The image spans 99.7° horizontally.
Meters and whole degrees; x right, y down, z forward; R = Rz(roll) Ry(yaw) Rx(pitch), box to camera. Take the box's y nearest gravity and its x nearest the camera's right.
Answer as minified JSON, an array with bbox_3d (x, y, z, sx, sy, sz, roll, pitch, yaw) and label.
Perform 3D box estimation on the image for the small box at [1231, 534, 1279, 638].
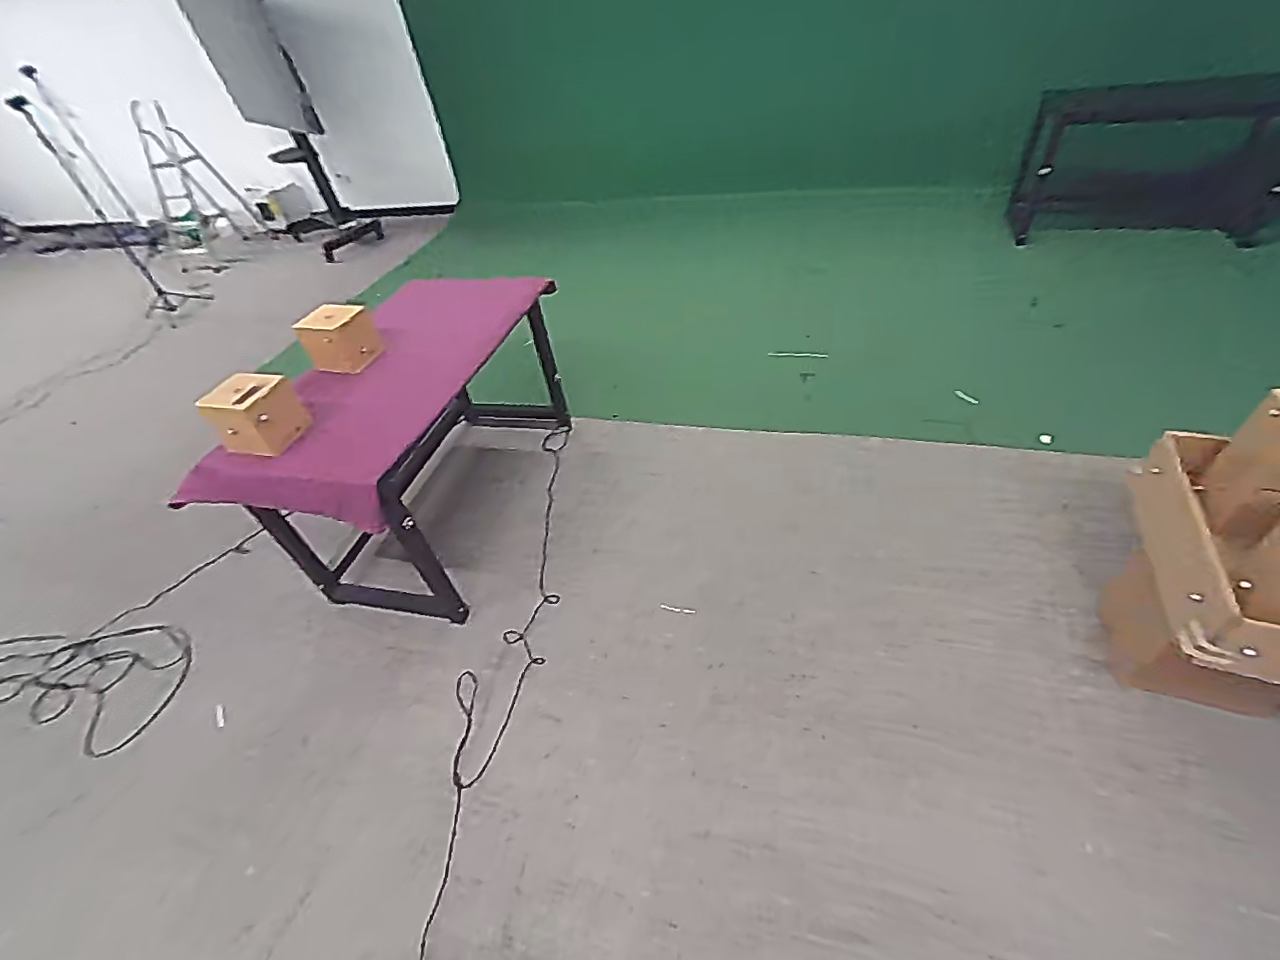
[{"bbox_3d":[1.422,0.238,1.135,0.179,0.176,0.168,15,48,23],"label":"small box"}]

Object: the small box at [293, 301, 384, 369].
[{"bbox_3d":[-1.020,-0.494,1.843,0.179,0.176,0.168,8,46,15],"label":"small box"}]

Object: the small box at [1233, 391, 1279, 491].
[{"bbox_3d":[1.517,-0.078,1.211,0.179,0.176,0.168,9,46,18],"label":"small box"}]
